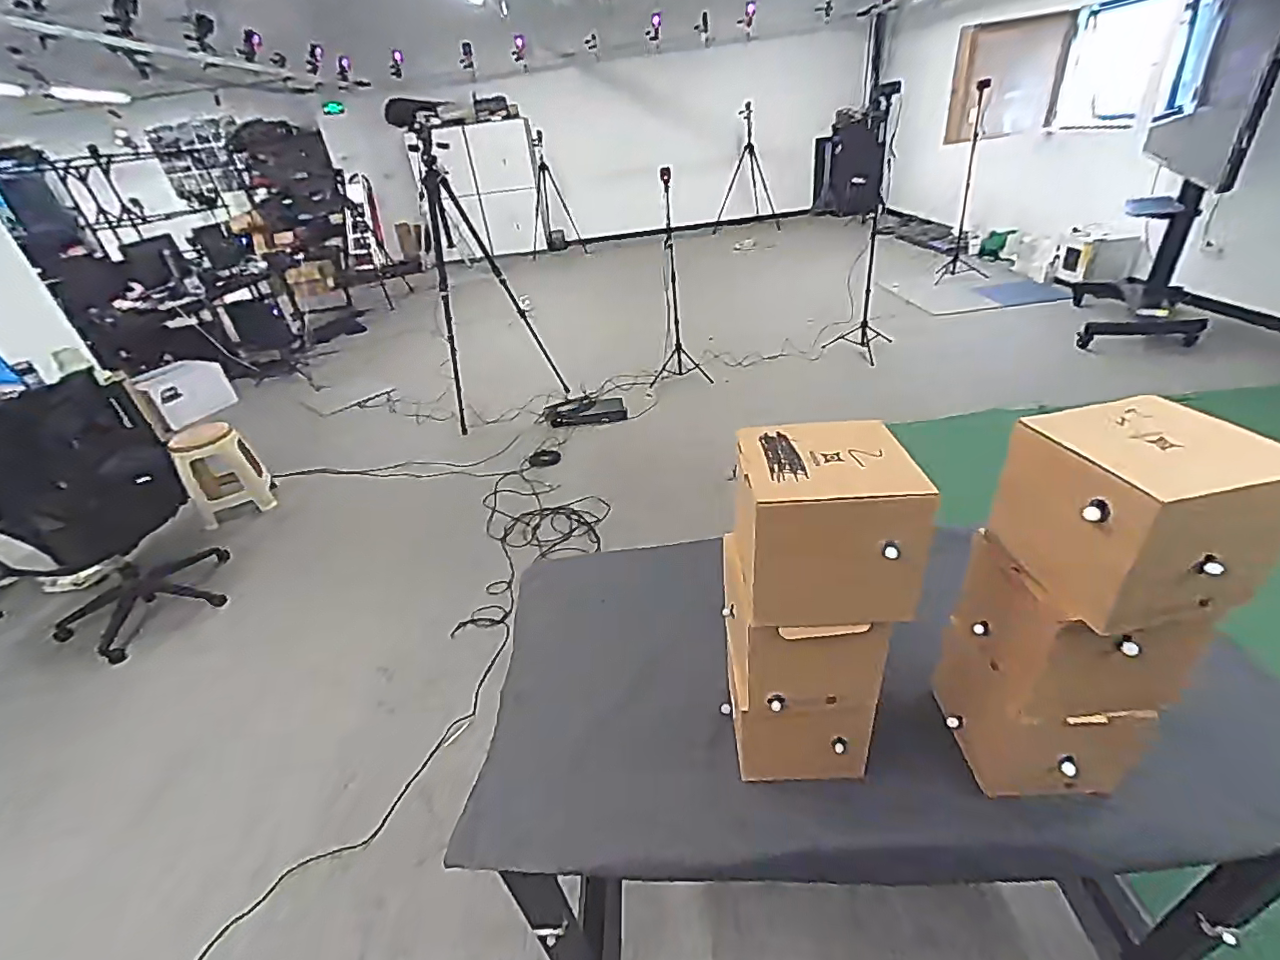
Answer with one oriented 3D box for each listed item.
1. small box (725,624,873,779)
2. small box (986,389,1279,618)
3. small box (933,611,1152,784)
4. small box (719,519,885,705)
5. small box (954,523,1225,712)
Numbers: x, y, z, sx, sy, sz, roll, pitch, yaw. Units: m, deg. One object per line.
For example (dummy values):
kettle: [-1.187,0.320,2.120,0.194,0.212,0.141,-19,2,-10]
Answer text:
small box: [0.223,0.316,0.801,0.179,0.176,0.168,-6,31,5]
small box: [0.510,0.025,0.571,0.168,0.176,0.179,-11,31,-3]
small box: [0.535,0.299,0.751,0.168,0.176,0.179,-6,32,5]
small box: [0.203,0.177,0.716,0.168,0.176,0.179,-7,30,2]
small box: [0.523,0.161,0.665,0.179,0.176,0.168,-7,32,4]
